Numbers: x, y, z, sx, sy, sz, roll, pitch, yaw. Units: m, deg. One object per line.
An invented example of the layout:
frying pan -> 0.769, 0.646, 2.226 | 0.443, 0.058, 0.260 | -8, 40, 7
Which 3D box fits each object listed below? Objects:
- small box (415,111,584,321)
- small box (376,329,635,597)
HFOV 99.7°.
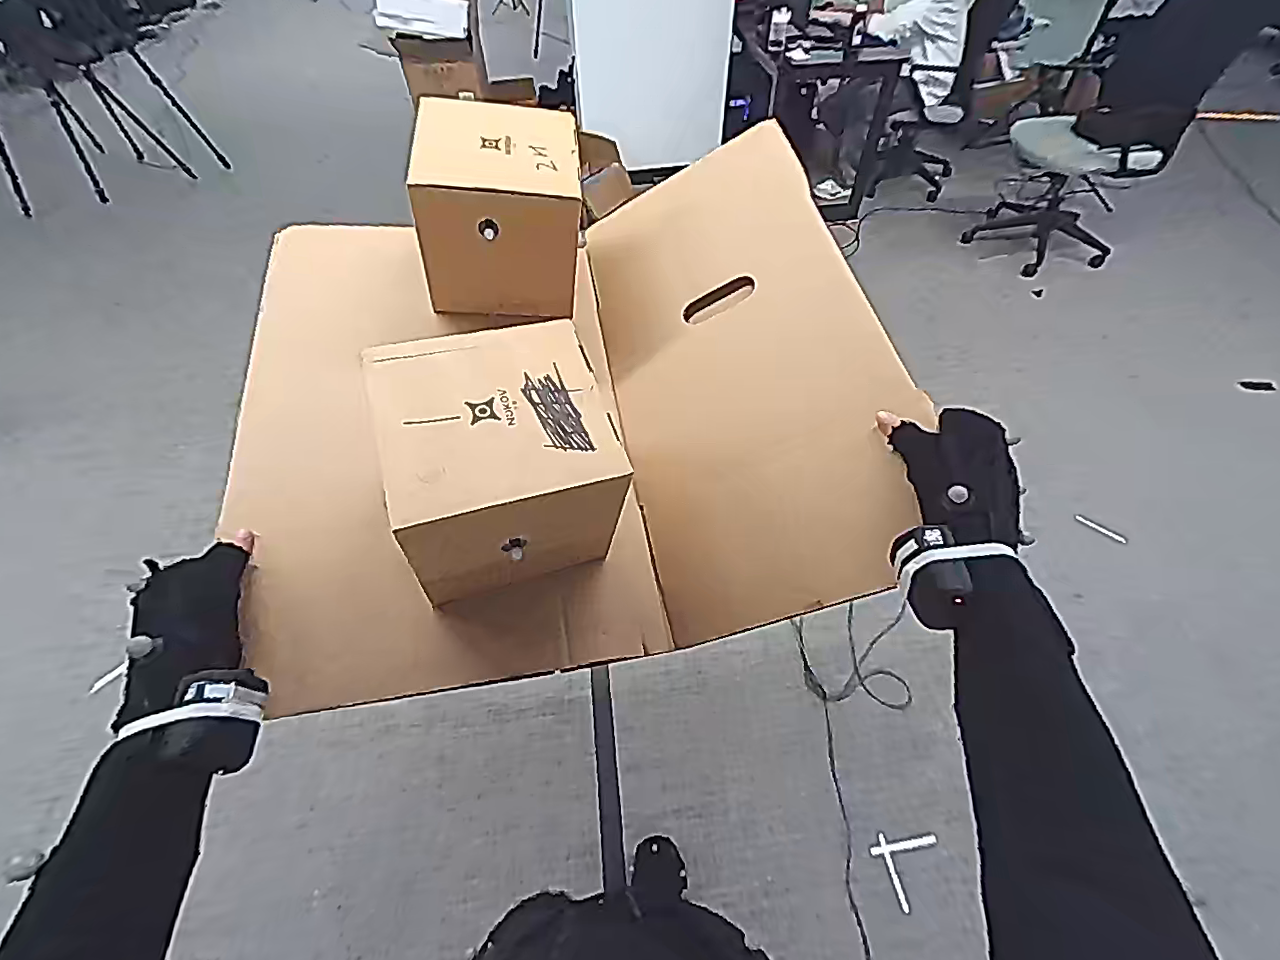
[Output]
small box -> -0.163, -0.317, 0.670 | 0.179, 0.176, 0.168 | 0, 60, -11
small box -> -0.123, -0.011, 0.501 | 0.179, 0.176, 0.168 | -14, 64, -18
